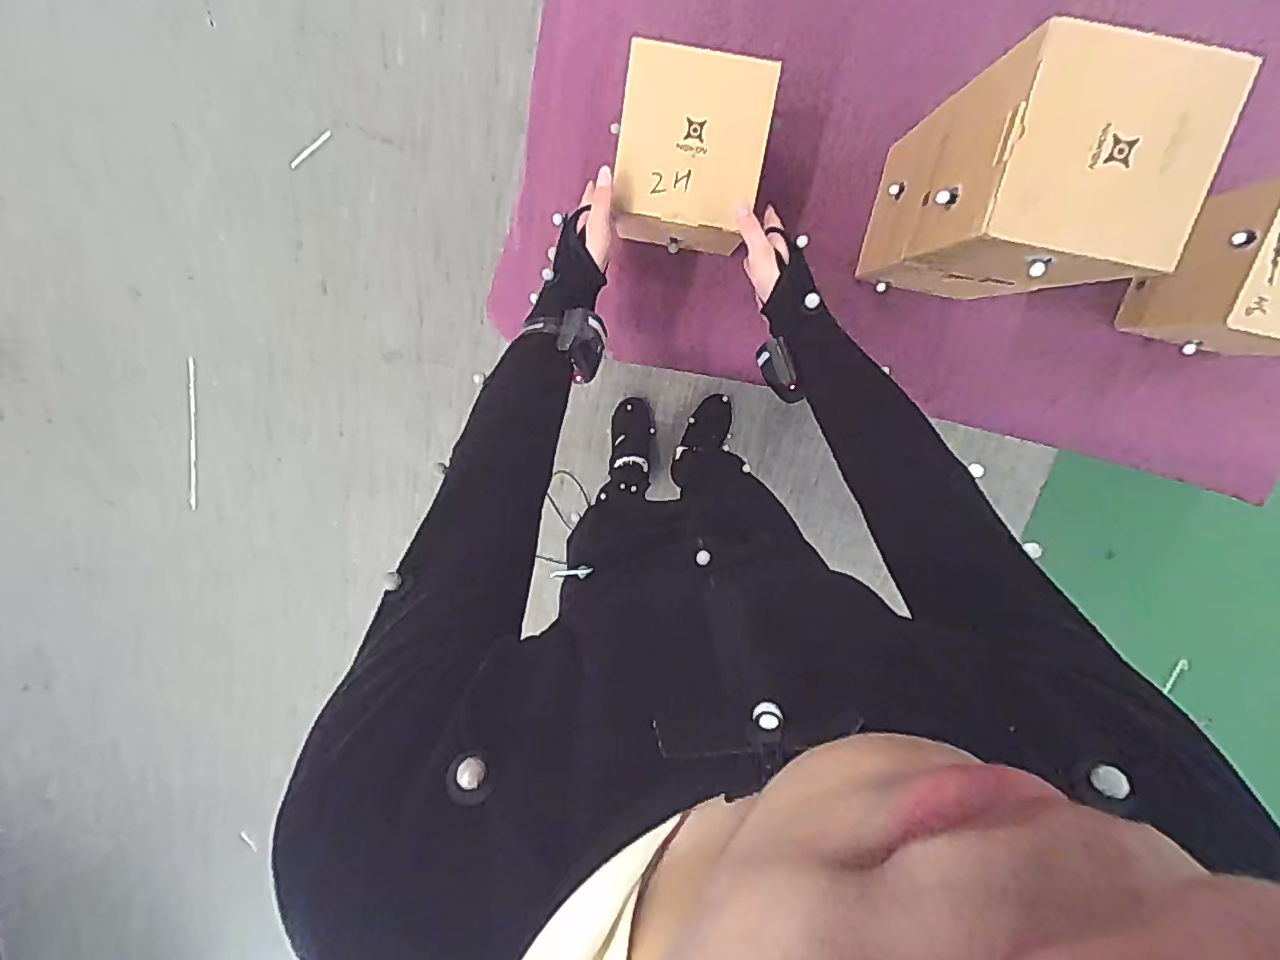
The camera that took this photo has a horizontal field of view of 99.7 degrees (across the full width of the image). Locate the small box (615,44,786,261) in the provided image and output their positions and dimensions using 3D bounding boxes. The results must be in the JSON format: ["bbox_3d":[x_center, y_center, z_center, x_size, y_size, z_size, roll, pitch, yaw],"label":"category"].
[{"bbox_3d":[0.066,-0.391,0.678,0.168,0.176,0.179,10,104,0],"label":"small box"}]

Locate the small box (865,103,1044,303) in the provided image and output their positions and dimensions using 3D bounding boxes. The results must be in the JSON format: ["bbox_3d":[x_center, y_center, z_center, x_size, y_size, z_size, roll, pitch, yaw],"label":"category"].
[{"bbox_3d":[0.408,-0.330,0.684,0.168,0.176,0.179,11,103,-1],"label":"small box"}]

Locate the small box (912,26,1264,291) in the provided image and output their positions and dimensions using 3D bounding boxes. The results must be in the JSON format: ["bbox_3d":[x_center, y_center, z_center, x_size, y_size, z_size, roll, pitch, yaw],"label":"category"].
[{"bbox_3d":[0.401,-0.287,0.527,0.179,0.176,0.168,11,105,-2],"label":"small box"}]

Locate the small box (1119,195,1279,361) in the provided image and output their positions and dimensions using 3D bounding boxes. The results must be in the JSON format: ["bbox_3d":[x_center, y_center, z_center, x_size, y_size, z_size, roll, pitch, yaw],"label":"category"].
[{"bbox_3d":[0.790,-0.251,0.691,0.179,0.176,0.168,12,104,-1],"label":"small box"}]
